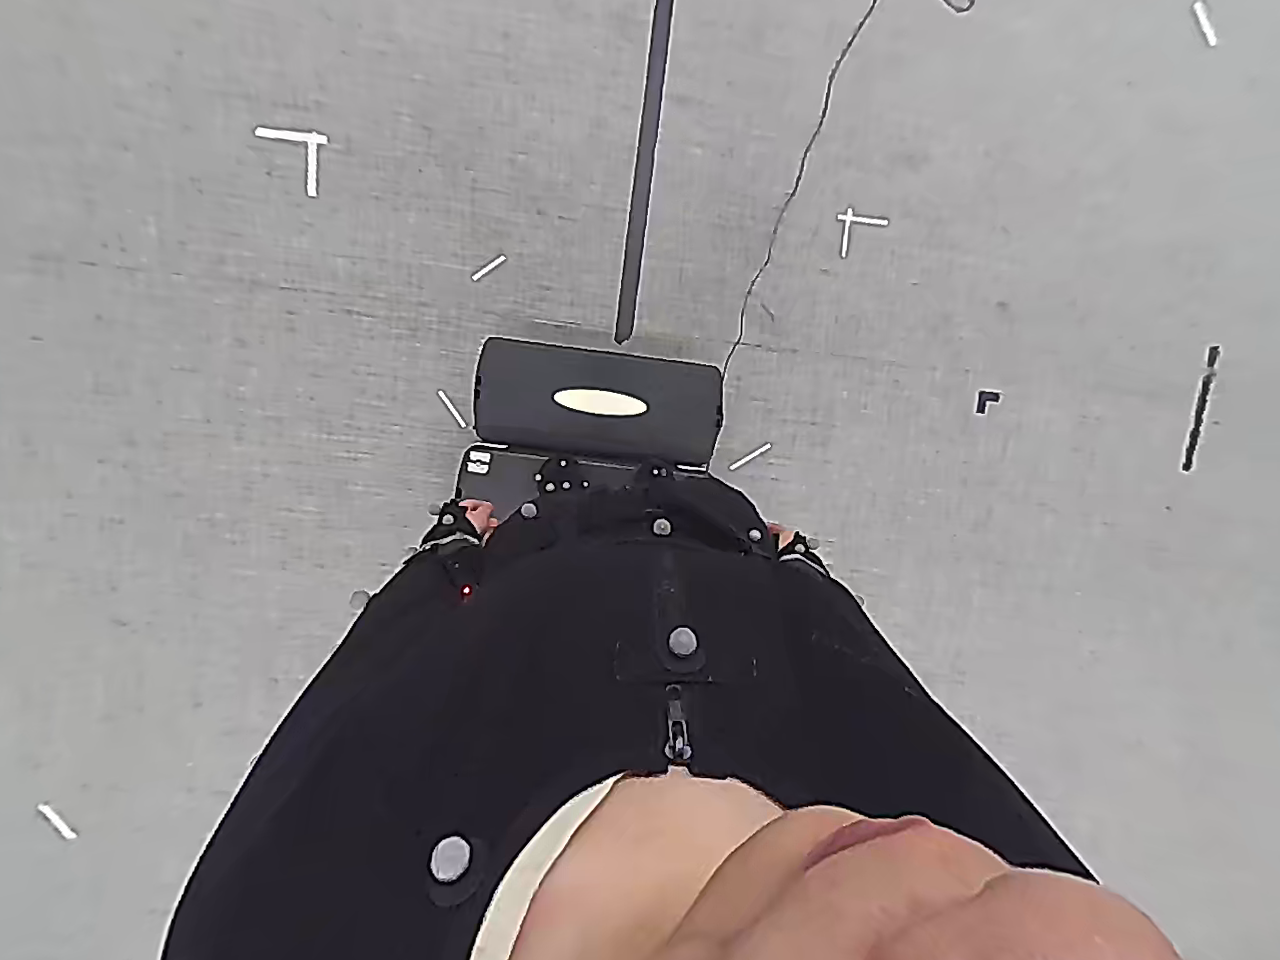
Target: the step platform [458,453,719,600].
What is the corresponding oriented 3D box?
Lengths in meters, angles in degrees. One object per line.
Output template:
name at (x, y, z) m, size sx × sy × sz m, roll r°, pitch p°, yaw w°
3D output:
step platform at (-0.132, 0.124, 1.465) m, size 0.684 × 0.204 × 0.286 m, roll 11°, pitch 92°, yaw -4°
